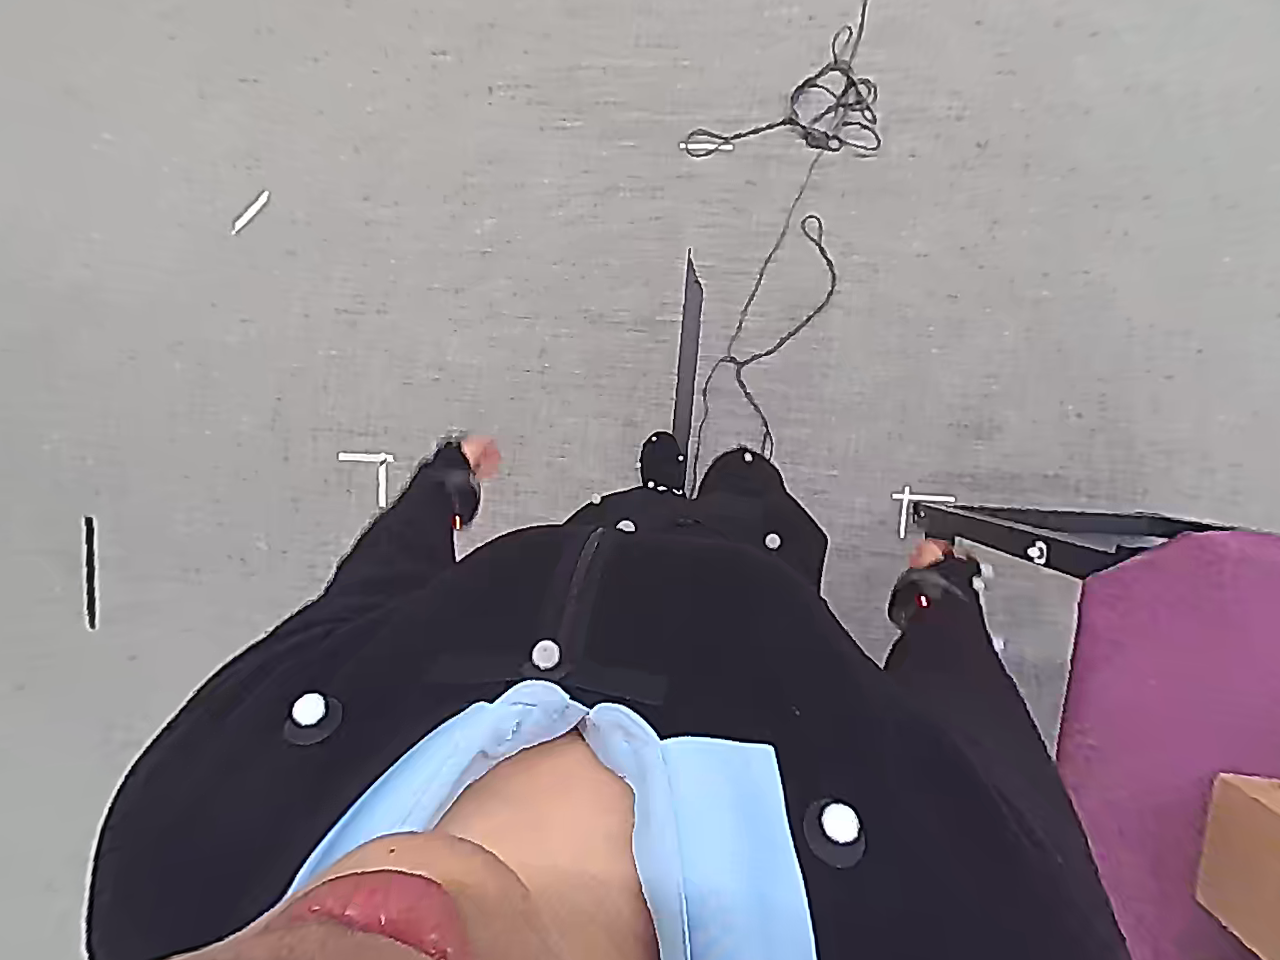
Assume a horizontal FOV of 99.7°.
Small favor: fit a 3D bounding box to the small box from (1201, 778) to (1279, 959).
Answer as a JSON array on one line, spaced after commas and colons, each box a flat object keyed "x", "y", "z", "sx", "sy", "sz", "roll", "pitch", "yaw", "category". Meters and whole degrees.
[{"x": 0.800, "y": 0.472, "z": 0.609, "sx": 0.168, "sy": 0.176, "sz": 0.179, "roll": 5, "pitch": 95, "yaw": 7, "category": "small box"}]
